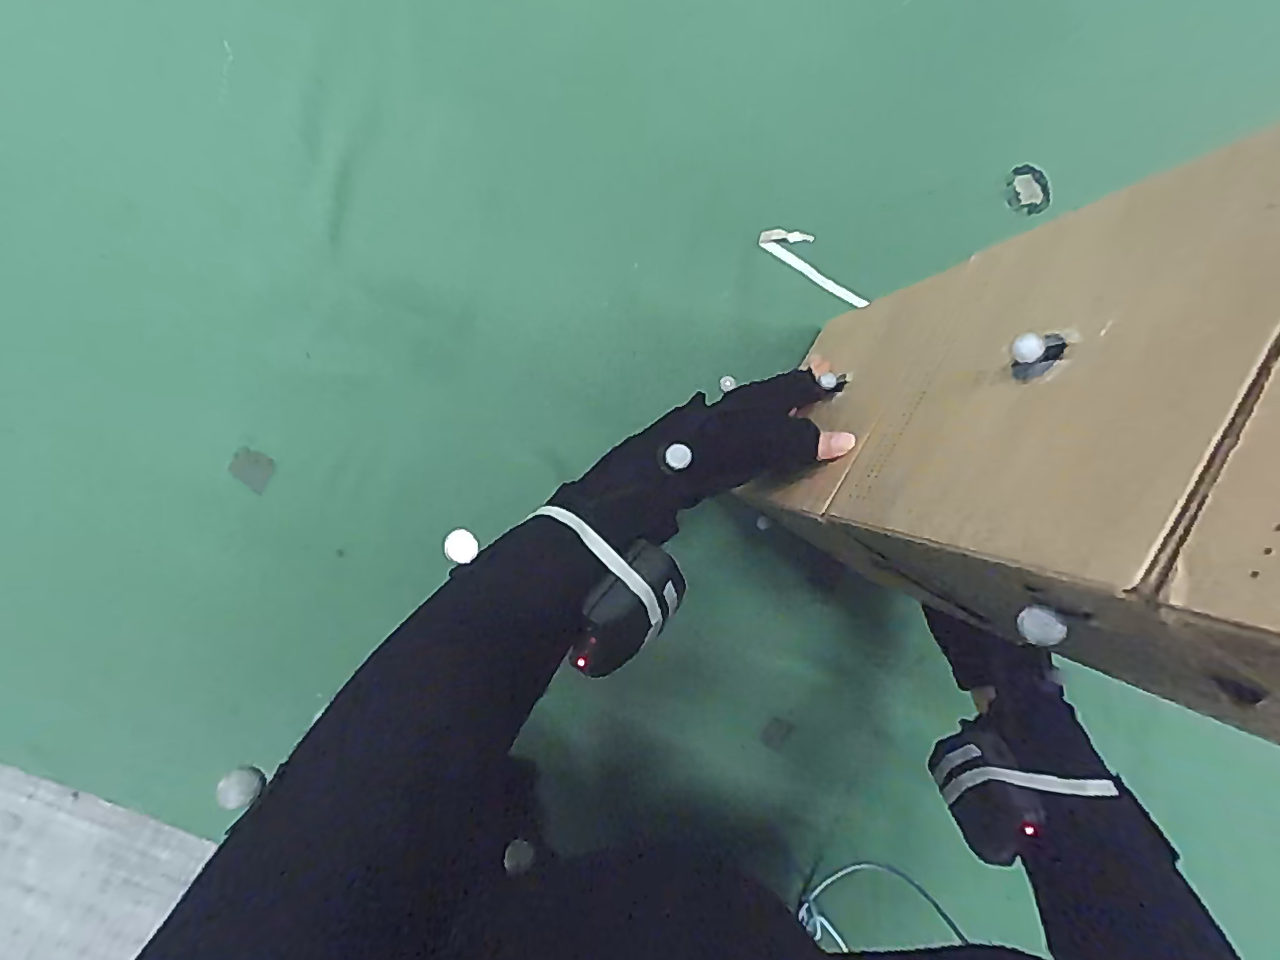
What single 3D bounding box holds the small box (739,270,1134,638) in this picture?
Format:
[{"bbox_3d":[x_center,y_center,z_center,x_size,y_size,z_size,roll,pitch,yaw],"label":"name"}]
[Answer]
[{"bbox_3d":[0.196,-0.017,0.412,0.168,0.176,0.179,31,87,-11],"label":"small box"}]
